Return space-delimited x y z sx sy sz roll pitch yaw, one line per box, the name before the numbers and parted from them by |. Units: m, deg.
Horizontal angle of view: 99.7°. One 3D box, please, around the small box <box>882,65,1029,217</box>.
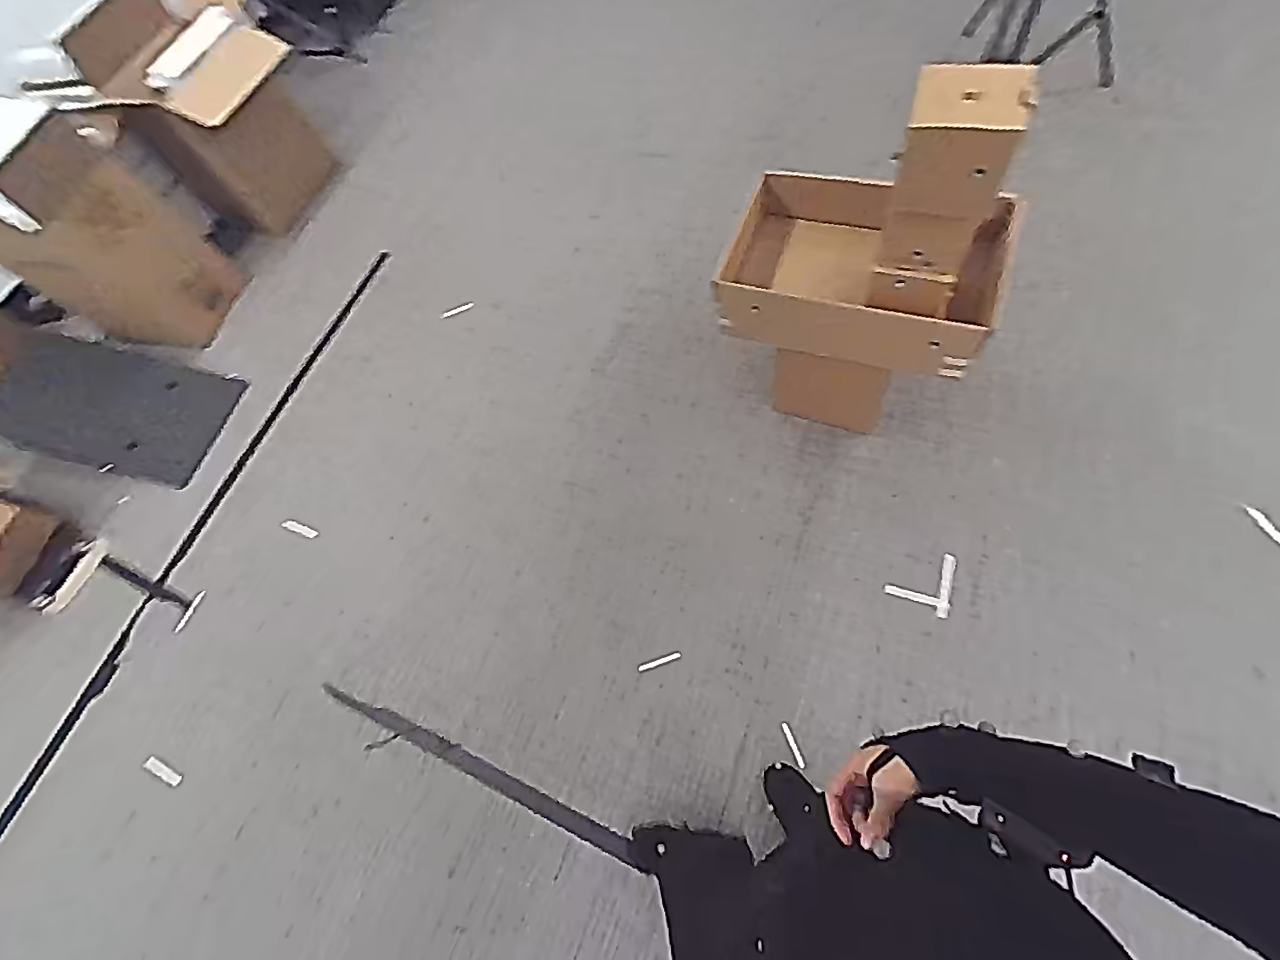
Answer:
small box | 0.555 -0.600 0.967 0.179 0.176 0.168 14 69 17
